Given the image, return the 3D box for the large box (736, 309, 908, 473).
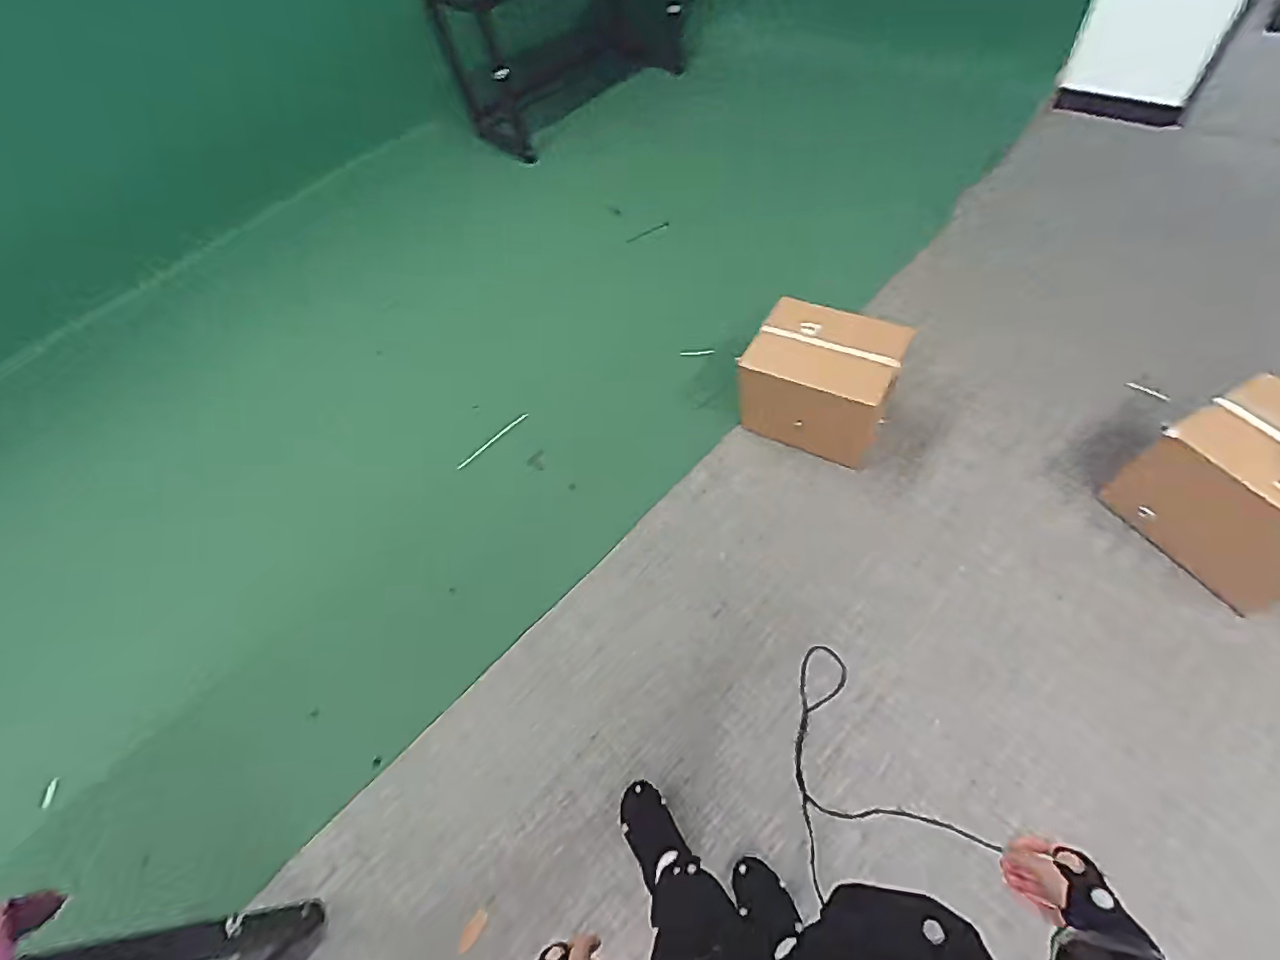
[{"bbox_3d":[0.552,-0.274,1.676,0.408,0.320,0.320,22,64,25],"label":"large box"}]
